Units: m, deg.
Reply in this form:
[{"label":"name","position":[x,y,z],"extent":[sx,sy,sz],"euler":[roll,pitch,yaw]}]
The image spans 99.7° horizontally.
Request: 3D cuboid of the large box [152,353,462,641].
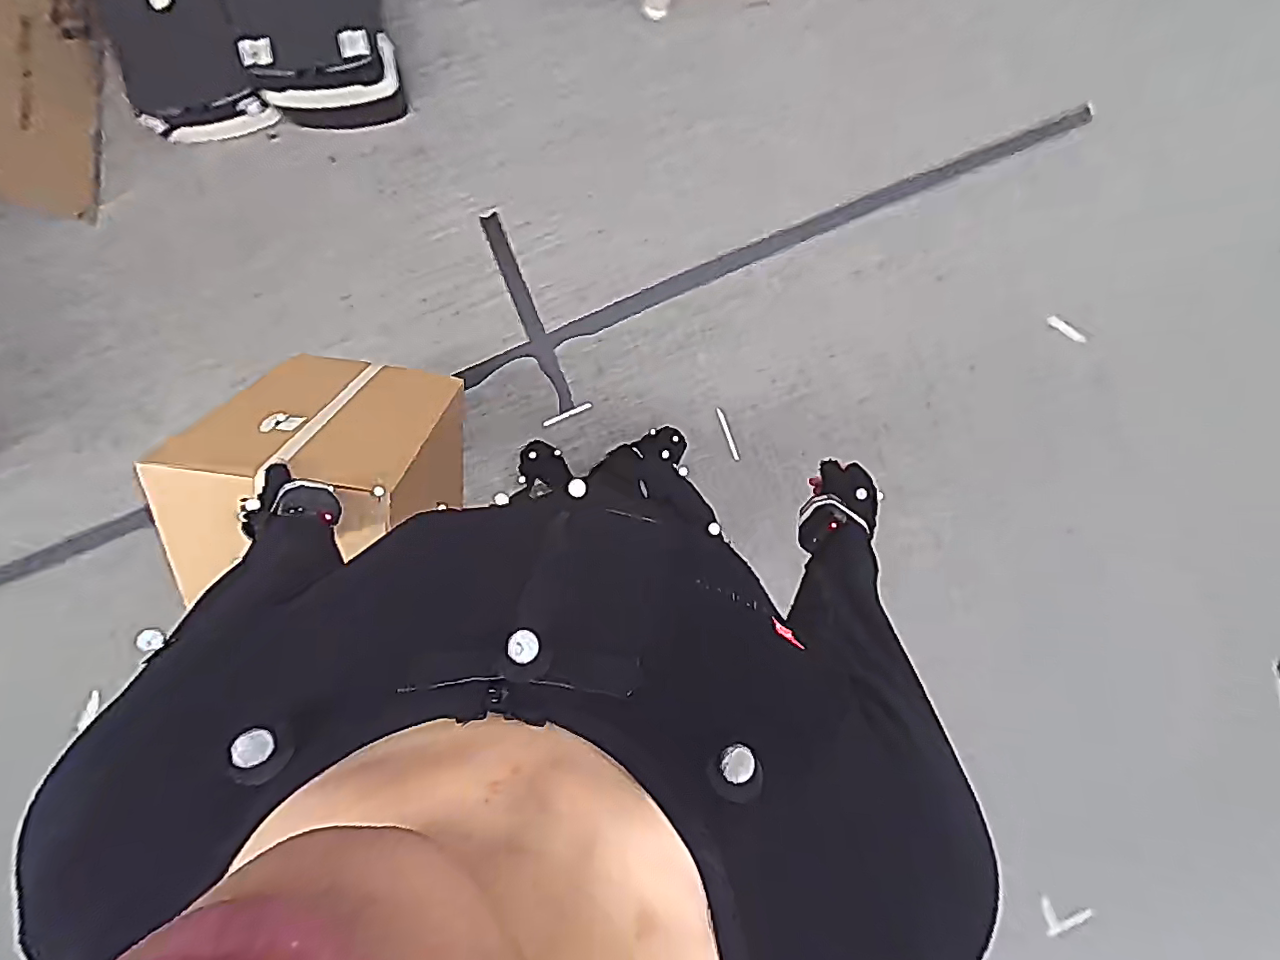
[{"label":"large box","position":[-0.523,0.014,0.962],"extent":[0.320,0.408,0.320],"euler":[9,123,-6]}]
